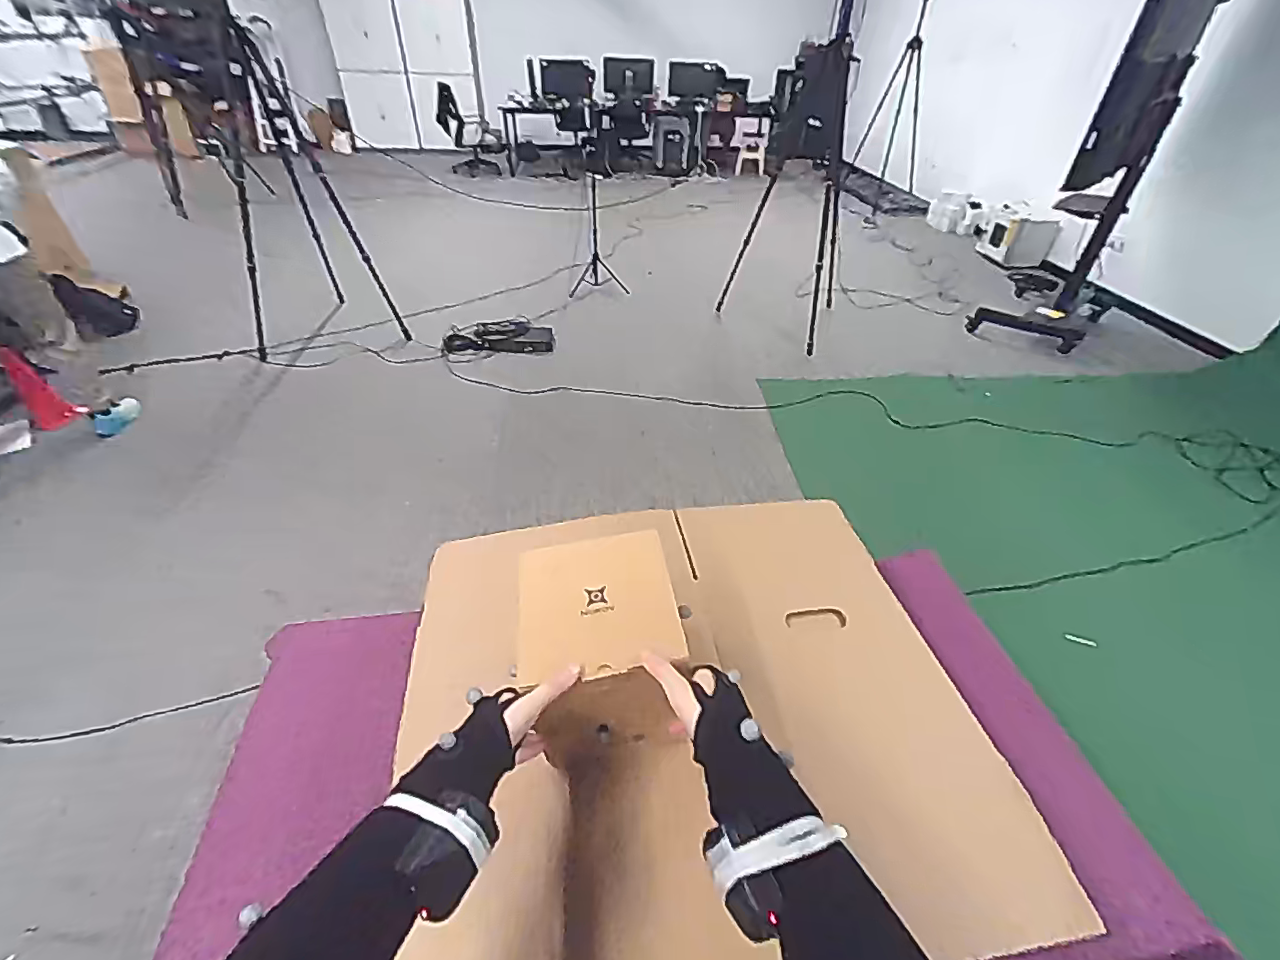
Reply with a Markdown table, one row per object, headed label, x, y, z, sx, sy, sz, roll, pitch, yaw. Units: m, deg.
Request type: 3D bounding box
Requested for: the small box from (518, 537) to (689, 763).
| label | x | y | z | sx | sy | sz | roll | pitch | yaw |
| --- | --- | --- | --- | --- | --- | --- | --- | --- | --- |
| small box | -0.041 | 0.195 | 0.628 | 0.168 | 0.176 | 0.179 | -9 | 42 | -4 |
